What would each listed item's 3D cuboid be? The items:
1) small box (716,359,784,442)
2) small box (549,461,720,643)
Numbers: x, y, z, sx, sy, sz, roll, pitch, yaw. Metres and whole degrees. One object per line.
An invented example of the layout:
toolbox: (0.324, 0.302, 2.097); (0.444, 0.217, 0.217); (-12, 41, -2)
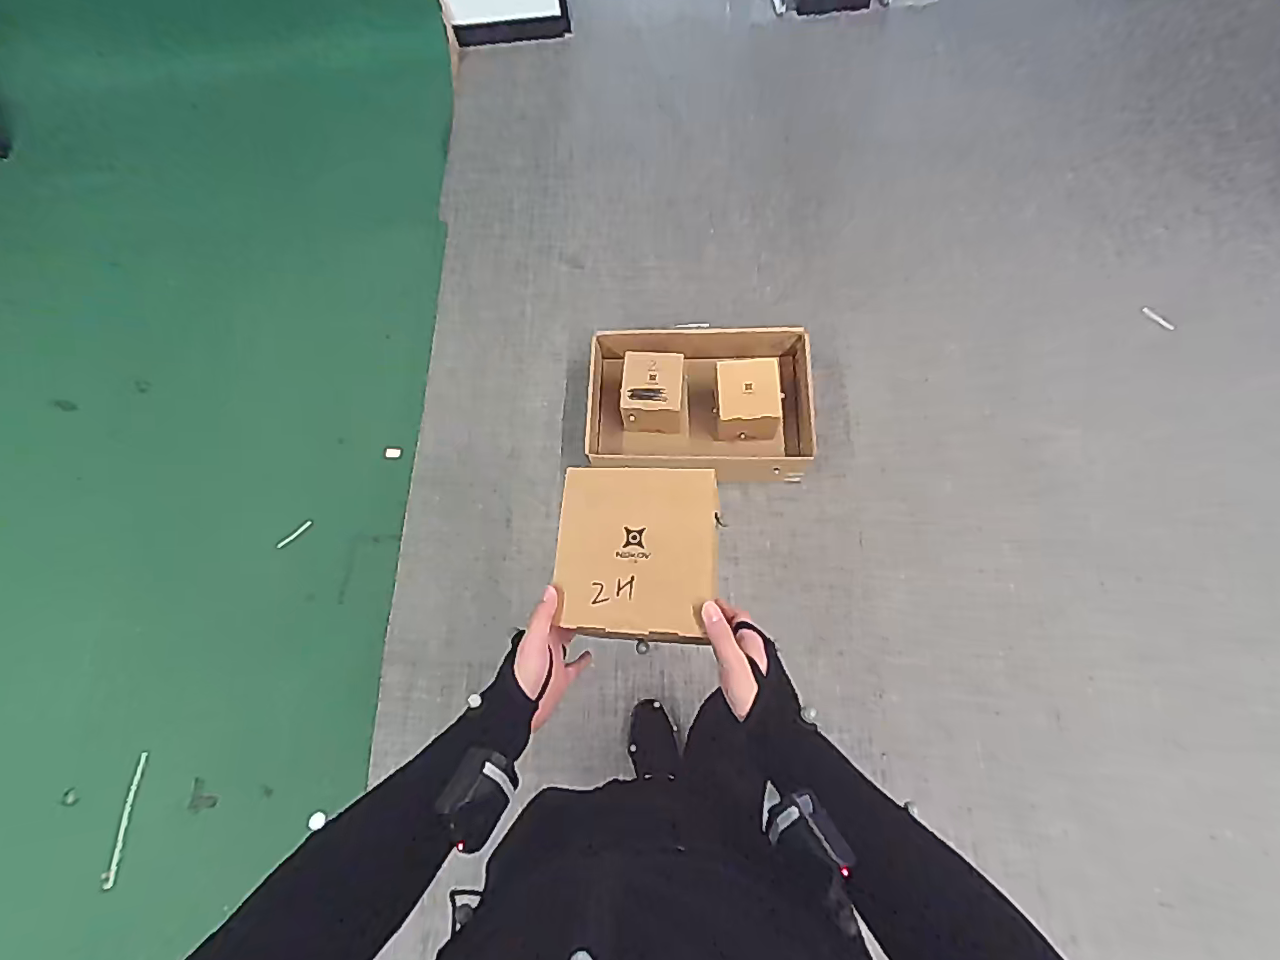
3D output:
small box: (0.304, -0.220, 1.526); (0.168, 0.176, 0.179); (-3, 73, 5)
small box: (0.007, 0.090, 0.639); (0.168, 0.176, 0.179); (1, 70, 11)
